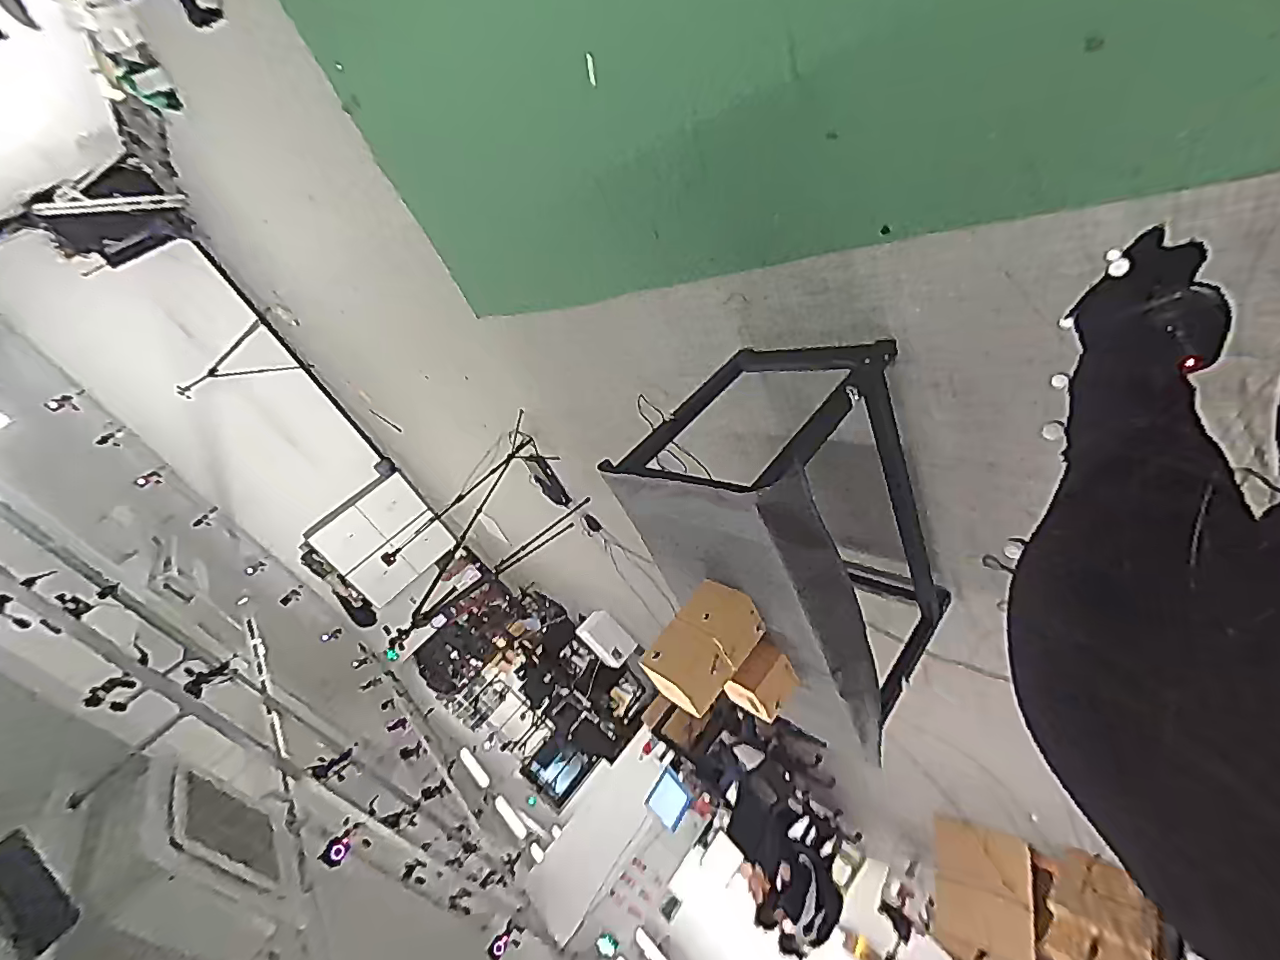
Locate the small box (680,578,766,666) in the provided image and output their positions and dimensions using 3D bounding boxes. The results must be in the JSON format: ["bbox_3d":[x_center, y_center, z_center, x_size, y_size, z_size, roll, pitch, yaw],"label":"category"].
[{"bbox_3d":[0.259,0.421,1.636,0.179,0.176,0.168,12,140,51],"label":"small box"}]

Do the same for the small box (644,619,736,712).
[{"bbox_3d":[0.149,0.534,1.587,0.179,0.176,0.168,9,138,52],"label":"small box"}]
